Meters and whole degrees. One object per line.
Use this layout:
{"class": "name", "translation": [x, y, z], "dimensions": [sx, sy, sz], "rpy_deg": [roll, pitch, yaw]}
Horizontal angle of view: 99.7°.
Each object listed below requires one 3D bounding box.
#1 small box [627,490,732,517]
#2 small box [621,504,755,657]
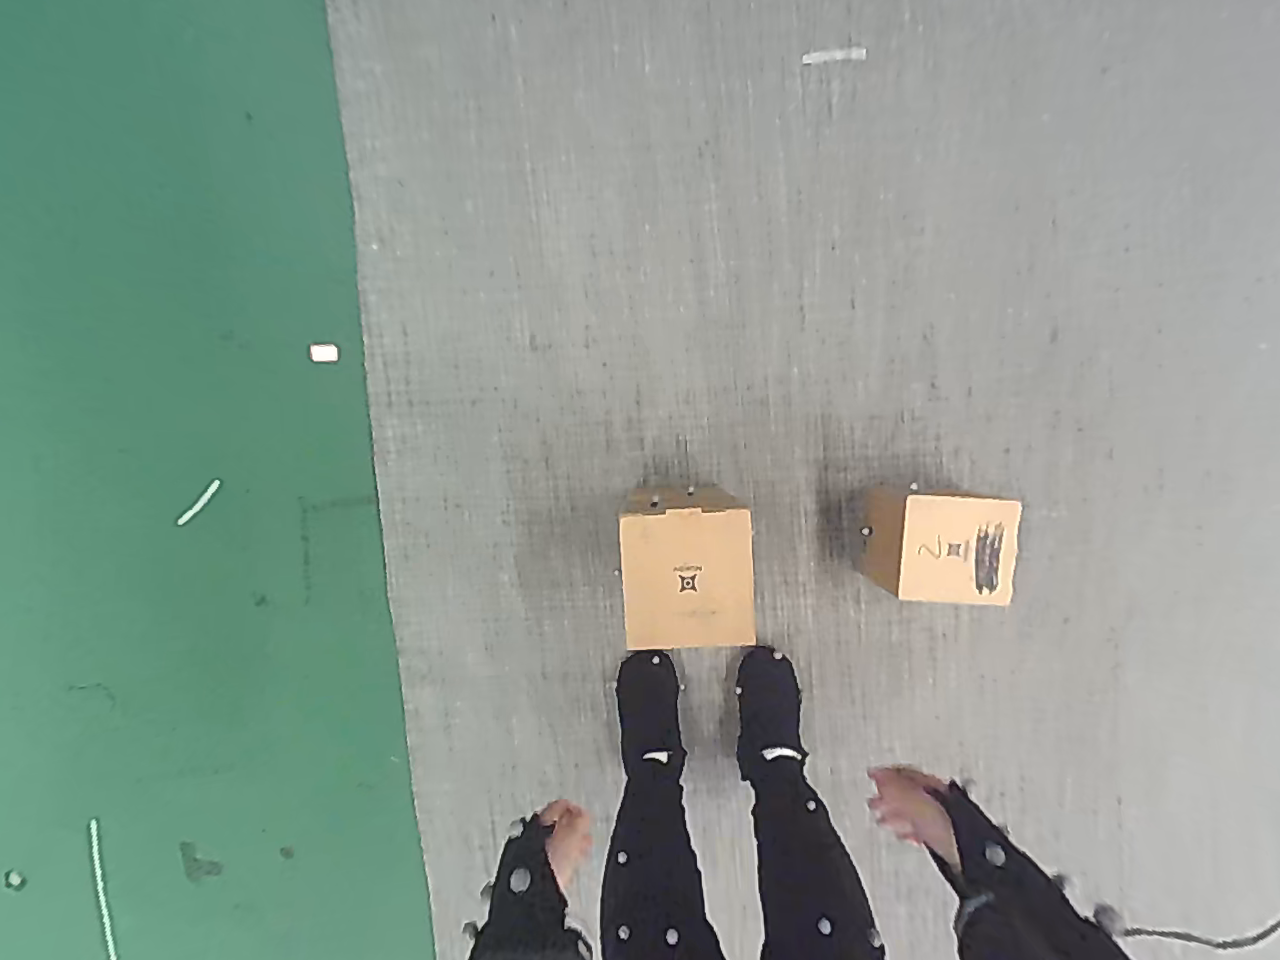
{"class": "small box", "translation": [0.066, 0.115, 0.920], "dimensions": [0.168, 0.176, 0.179], "rpy_deg": [0, 95, 2]}
{"class": "small box", "translation": [0.063, 0.129, 0.758], "dimensions": [0.168, 0.176, 0.179], "rpy_deg": [-4, 95, 3]}
